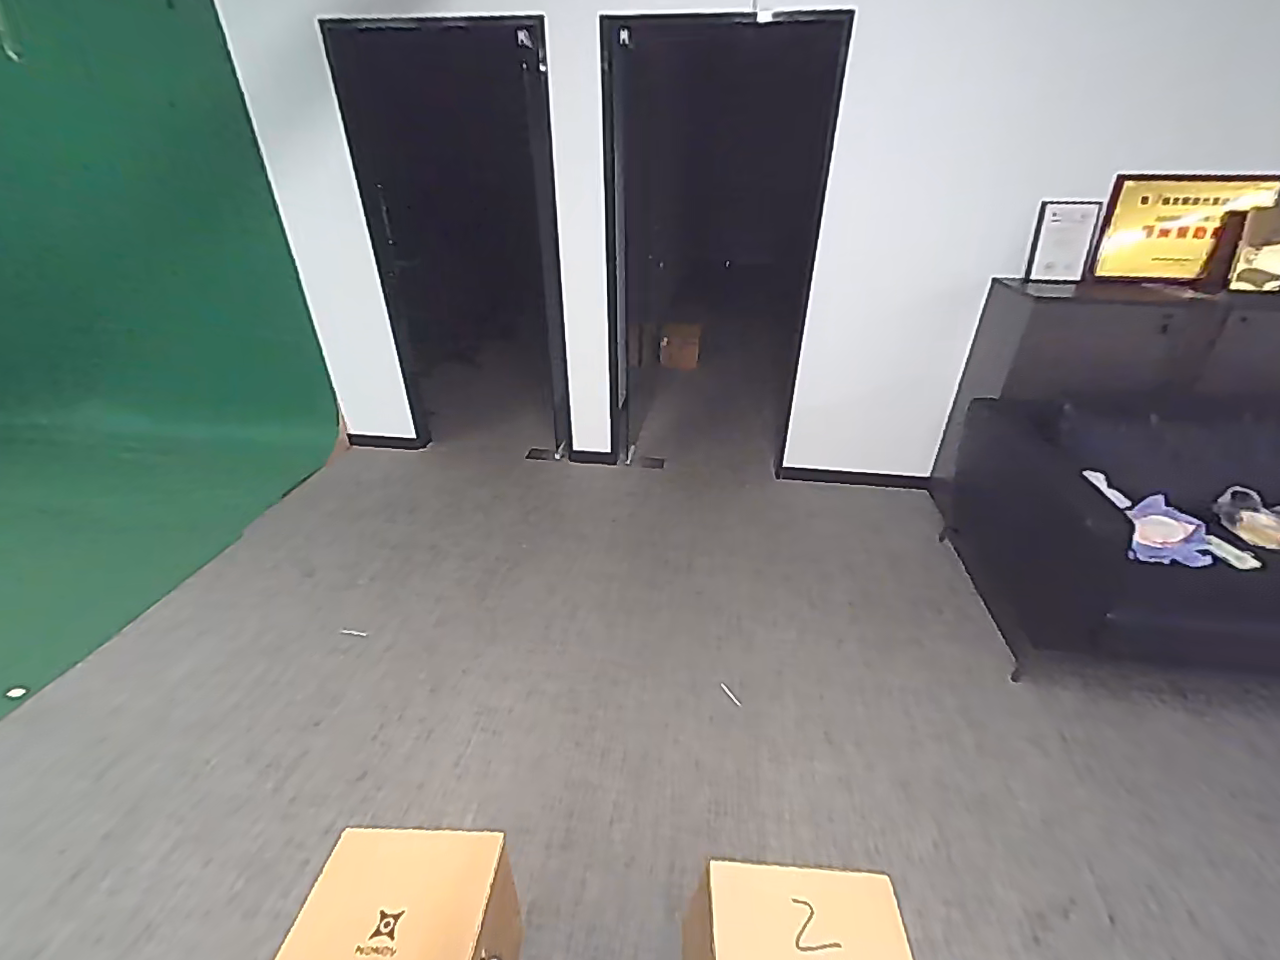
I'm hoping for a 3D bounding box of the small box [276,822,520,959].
[{"bbox_3d":[-0.215,0.457,0.498,0.168,0.176,0.179,0,26,4],"label":"small box"}]
